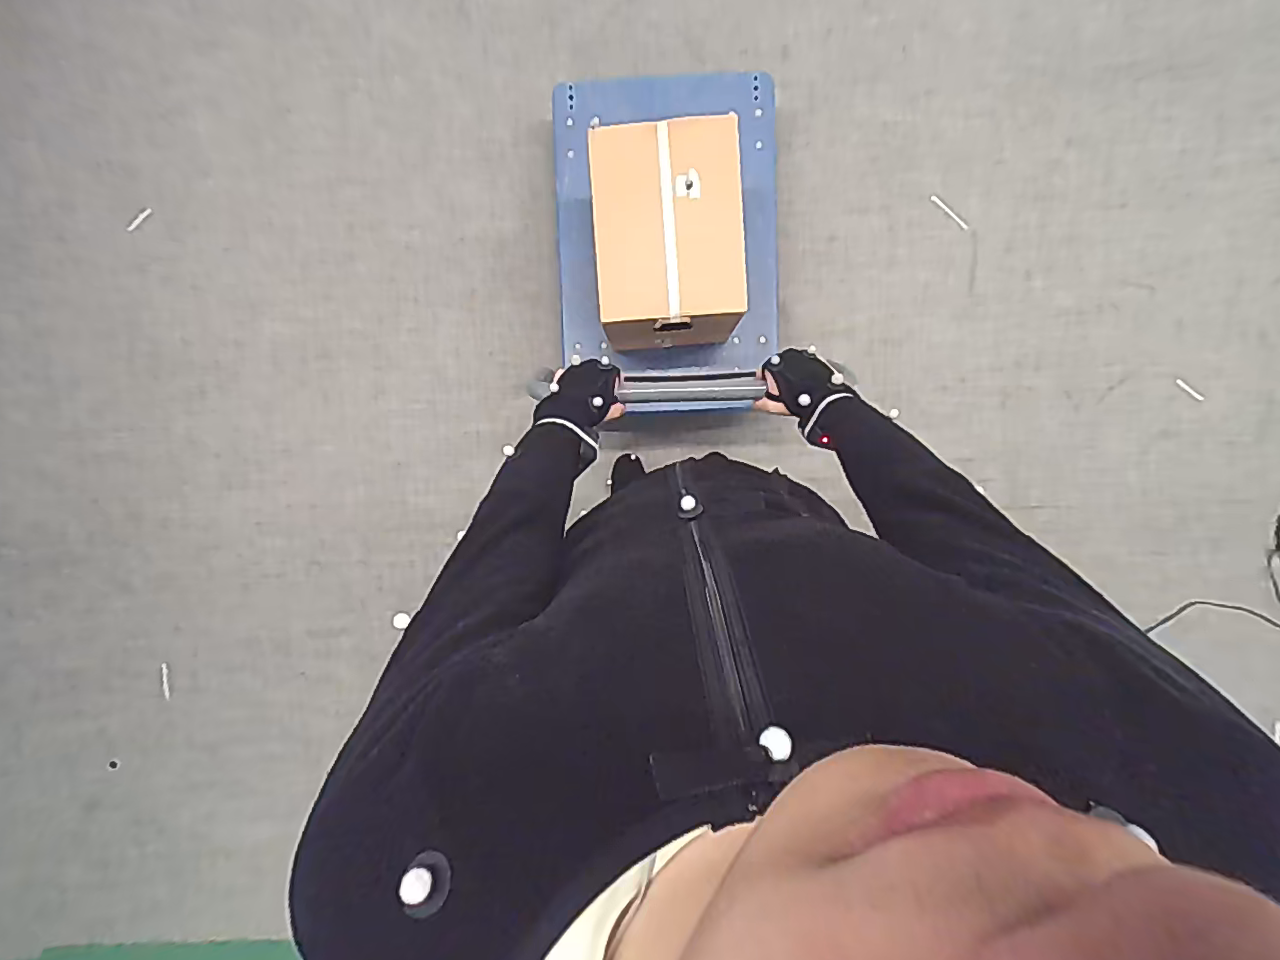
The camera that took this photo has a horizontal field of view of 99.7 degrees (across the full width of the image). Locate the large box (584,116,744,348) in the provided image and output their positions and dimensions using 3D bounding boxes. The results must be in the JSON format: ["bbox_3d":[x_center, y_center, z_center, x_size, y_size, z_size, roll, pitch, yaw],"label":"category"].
[{"bbox_3d":[0.058,-0.554,1.284,0.320,0.320,0.408,-4,93,2],"label":"large box"}]
